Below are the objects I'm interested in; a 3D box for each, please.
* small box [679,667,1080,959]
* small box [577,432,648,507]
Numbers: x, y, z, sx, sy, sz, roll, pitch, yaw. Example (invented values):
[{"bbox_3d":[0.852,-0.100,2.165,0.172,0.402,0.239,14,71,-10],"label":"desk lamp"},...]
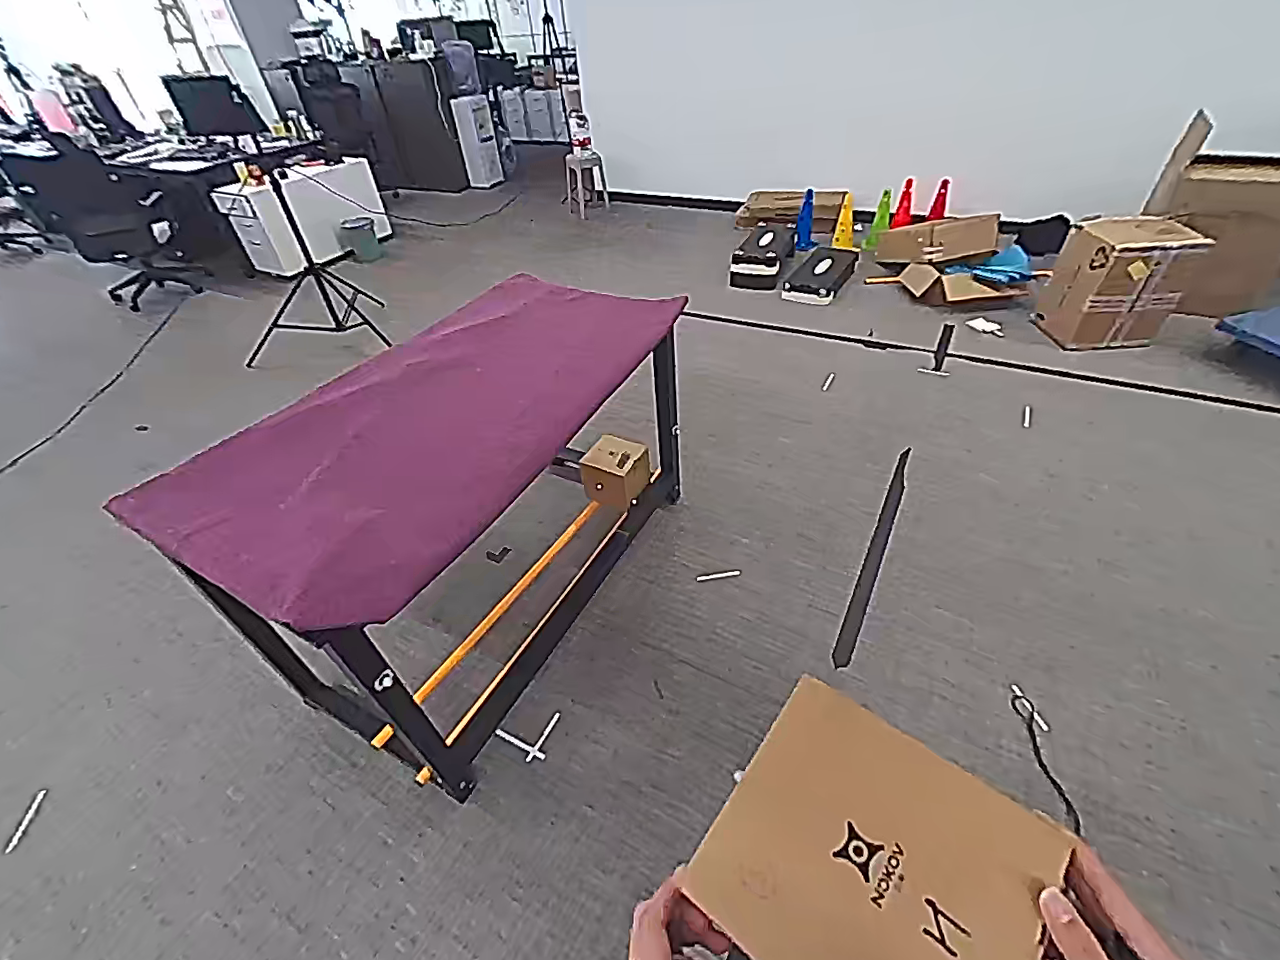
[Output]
[{"bbox_3d":[0.151,0.274,0.382,0.179,0.176,0.168,28,63,30],"label":"small box"},{"bbox_3d":[-0.086,-0.033,1.826,0.179,0.176,0.168,18,47,24],"label":"small box"}]
